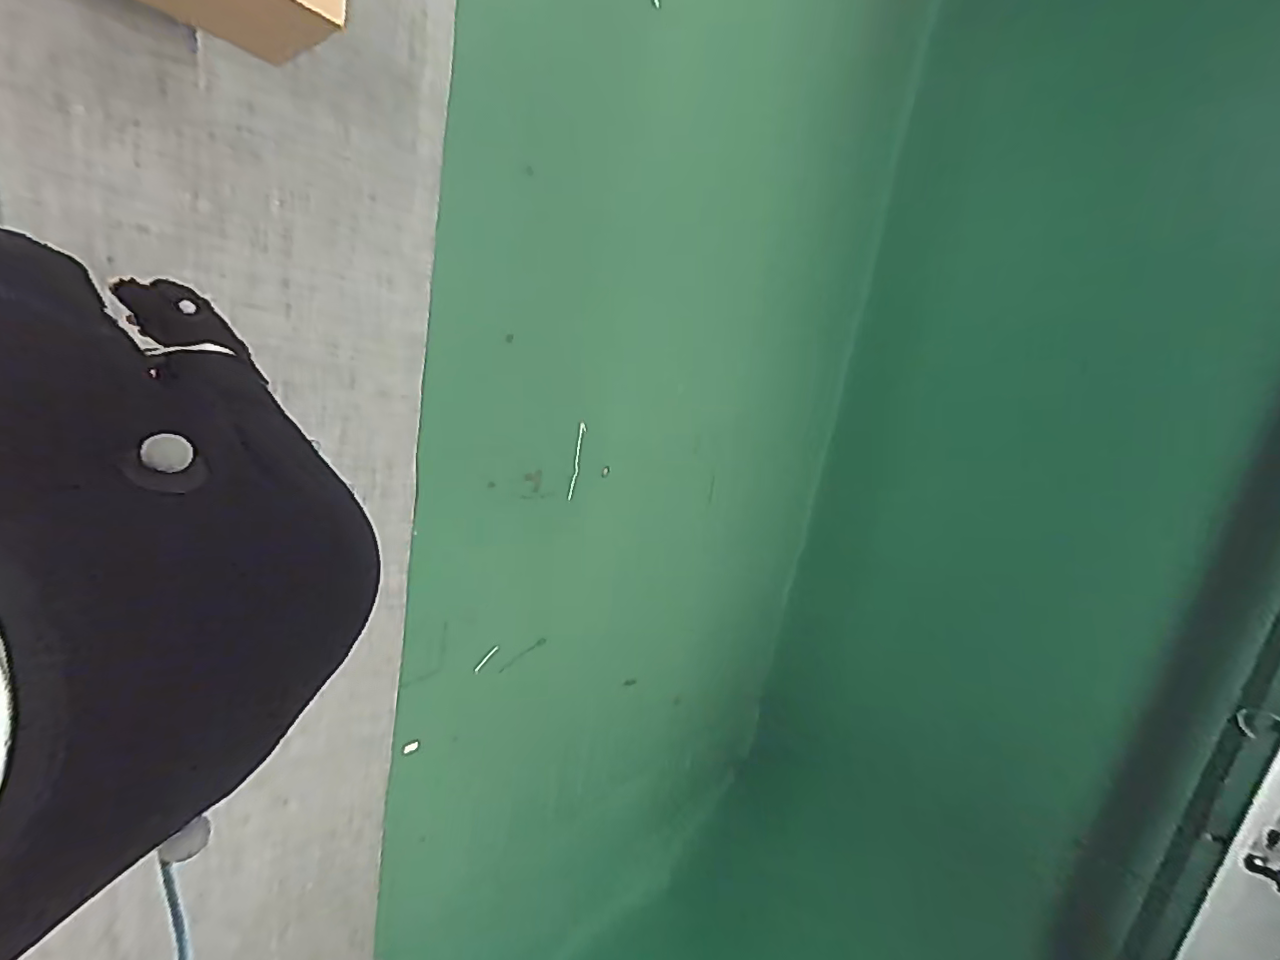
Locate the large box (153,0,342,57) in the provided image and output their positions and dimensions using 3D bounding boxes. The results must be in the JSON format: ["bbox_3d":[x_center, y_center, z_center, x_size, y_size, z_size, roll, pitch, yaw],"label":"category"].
[{"bbox_3d":[-0.679,-0.894,0.760,0.408,0.320,0.320,-2,107,-50],"label":"large box"}]
